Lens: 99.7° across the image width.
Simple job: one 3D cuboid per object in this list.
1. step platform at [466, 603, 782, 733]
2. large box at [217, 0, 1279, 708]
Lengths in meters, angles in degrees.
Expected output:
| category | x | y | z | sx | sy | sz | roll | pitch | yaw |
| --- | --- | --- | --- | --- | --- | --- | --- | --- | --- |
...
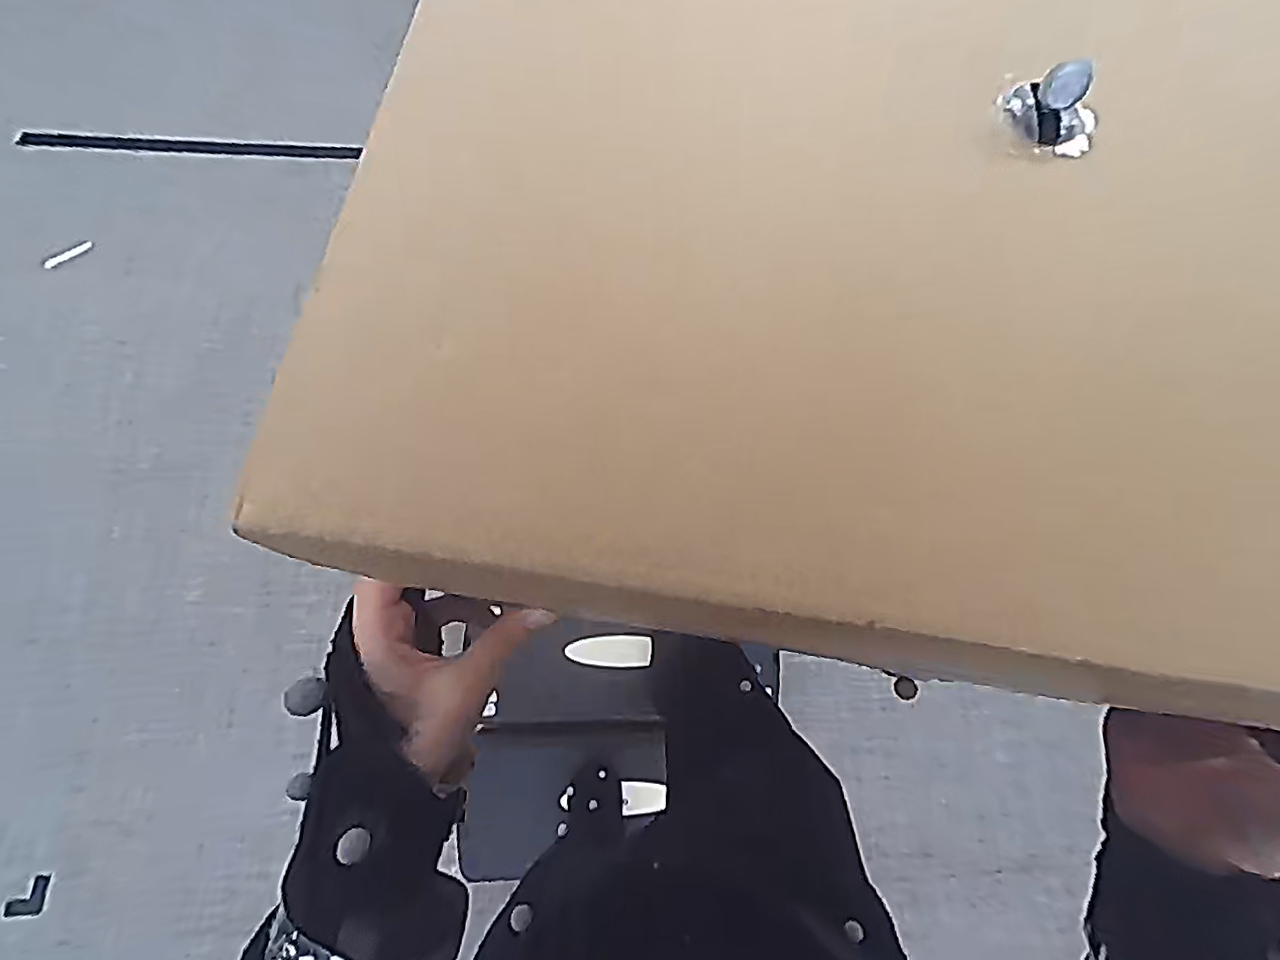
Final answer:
| category | x | y | z | sx | sy | sz | roll | pitch | yaw |
| --- | --- | --- | --- | --- | --- | --- | --- | --- | --- |
| step platform | -0.031 | 0.388 | 1.213 | 0.684 | 0.204 | 0.286 | 6 | 72 | -4 |
| large box | 0.102 | -0.068 | 0.313 | 0.408 | 0.320 | 0.320 | 8 | 75 | 0 |
